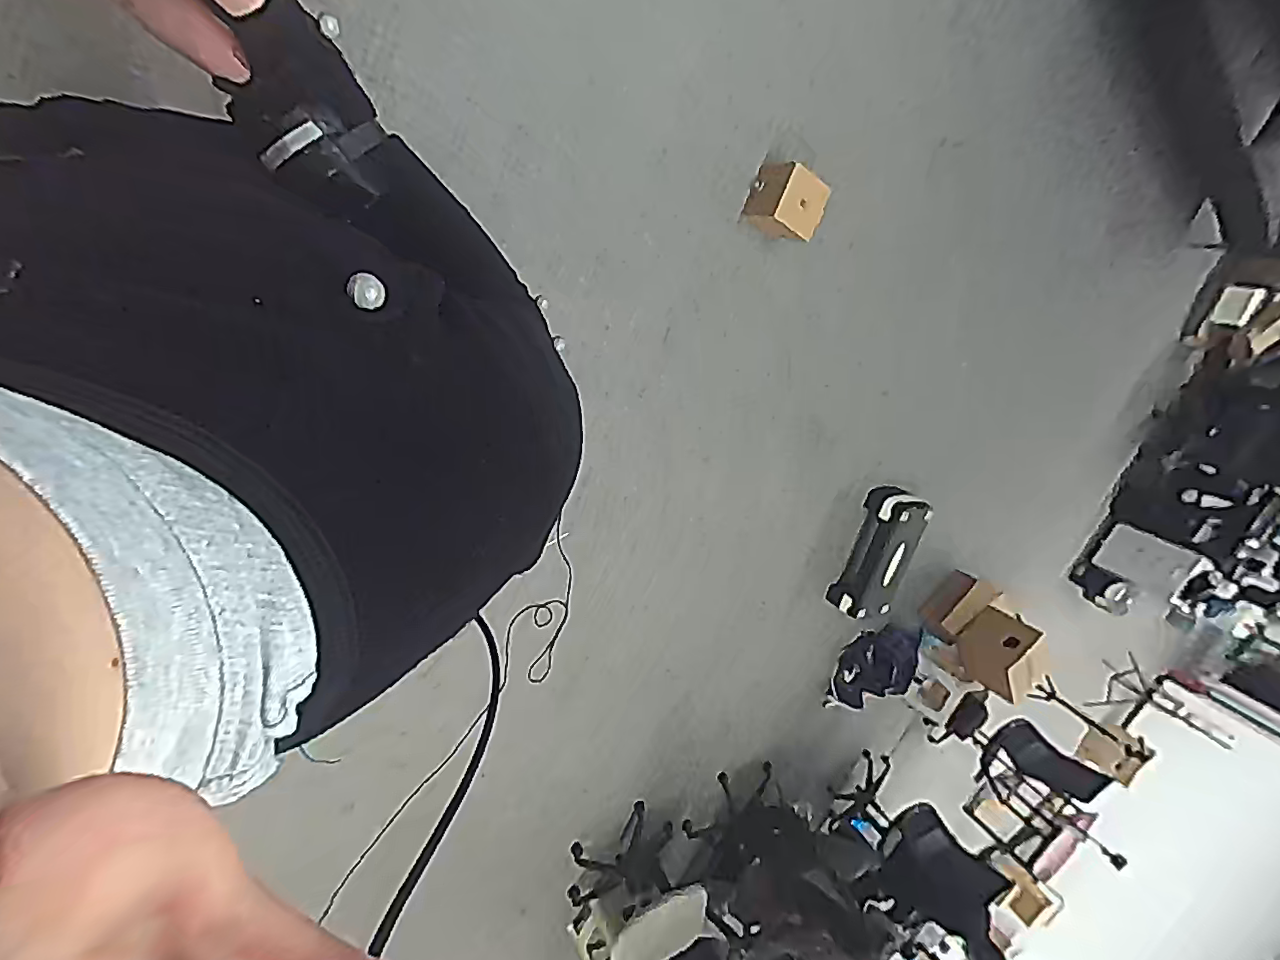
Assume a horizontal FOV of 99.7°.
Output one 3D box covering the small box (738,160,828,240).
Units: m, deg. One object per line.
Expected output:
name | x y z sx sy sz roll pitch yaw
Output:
small box | 0.445 -0.876 1.698 0.179 0.176 0.168 12 105 -34
